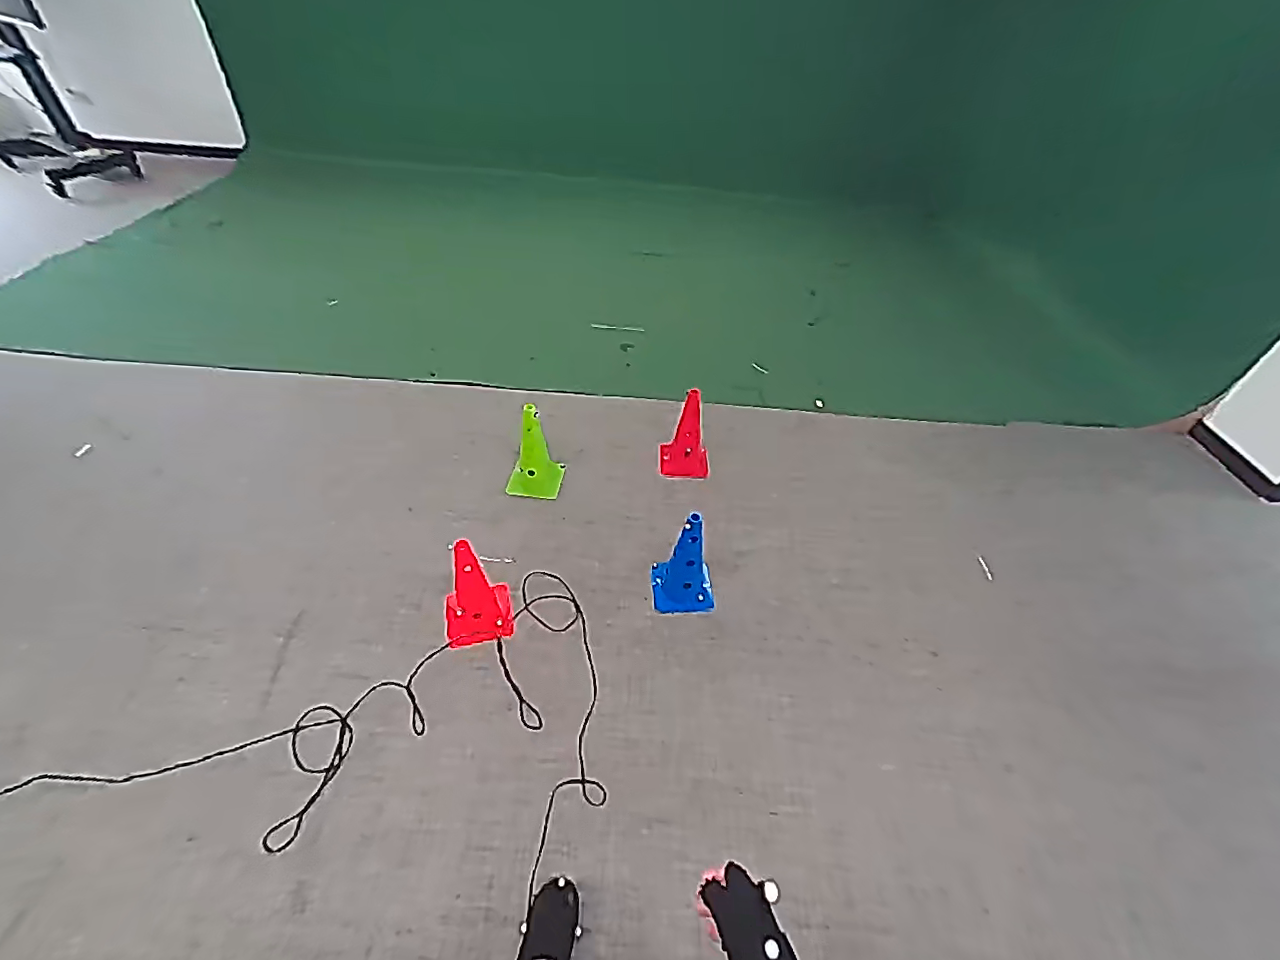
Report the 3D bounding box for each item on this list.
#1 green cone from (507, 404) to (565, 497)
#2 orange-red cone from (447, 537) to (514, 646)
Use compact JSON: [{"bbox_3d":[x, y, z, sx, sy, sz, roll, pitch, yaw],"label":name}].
[{"bbox_3d":[-0.402,-0.133,2.019,0.200,0.368,0.202,5,45,1],"label":"green cone"},{"bbox_3d":[-0.488,0.295,1.577,0.198,0.360,0.199,-8,44,-15],"label":"orange-red cone"}]
